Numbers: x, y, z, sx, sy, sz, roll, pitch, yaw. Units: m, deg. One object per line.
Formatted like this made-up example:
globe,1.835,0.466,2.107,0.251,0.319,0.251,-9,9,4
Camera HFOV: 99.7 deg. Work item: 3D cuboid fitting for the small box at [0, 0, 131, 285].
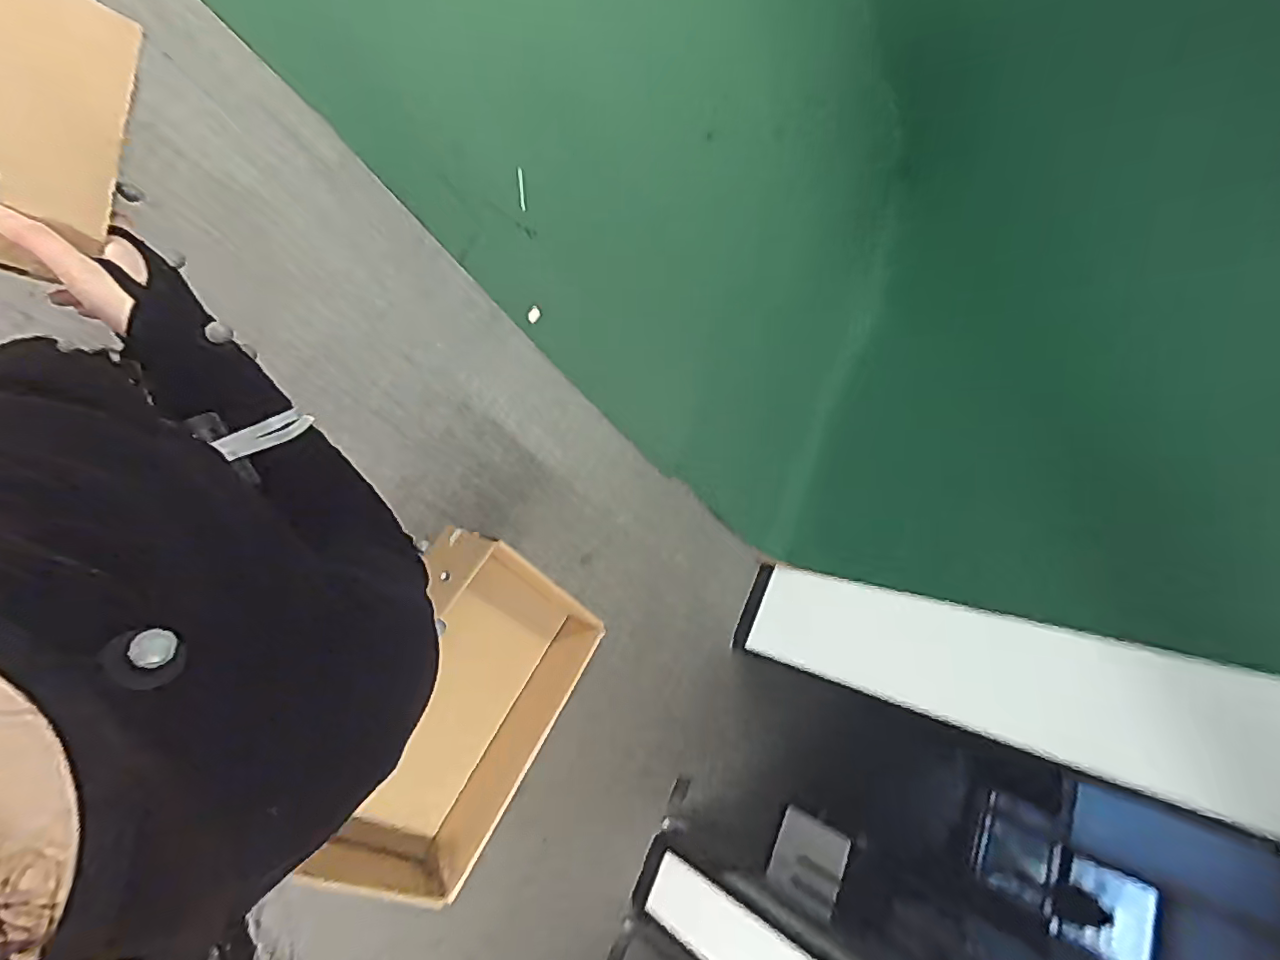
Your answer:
small box,-0.459,-0.246,0.353,0.168,0.176,0.179,8,101,-47
